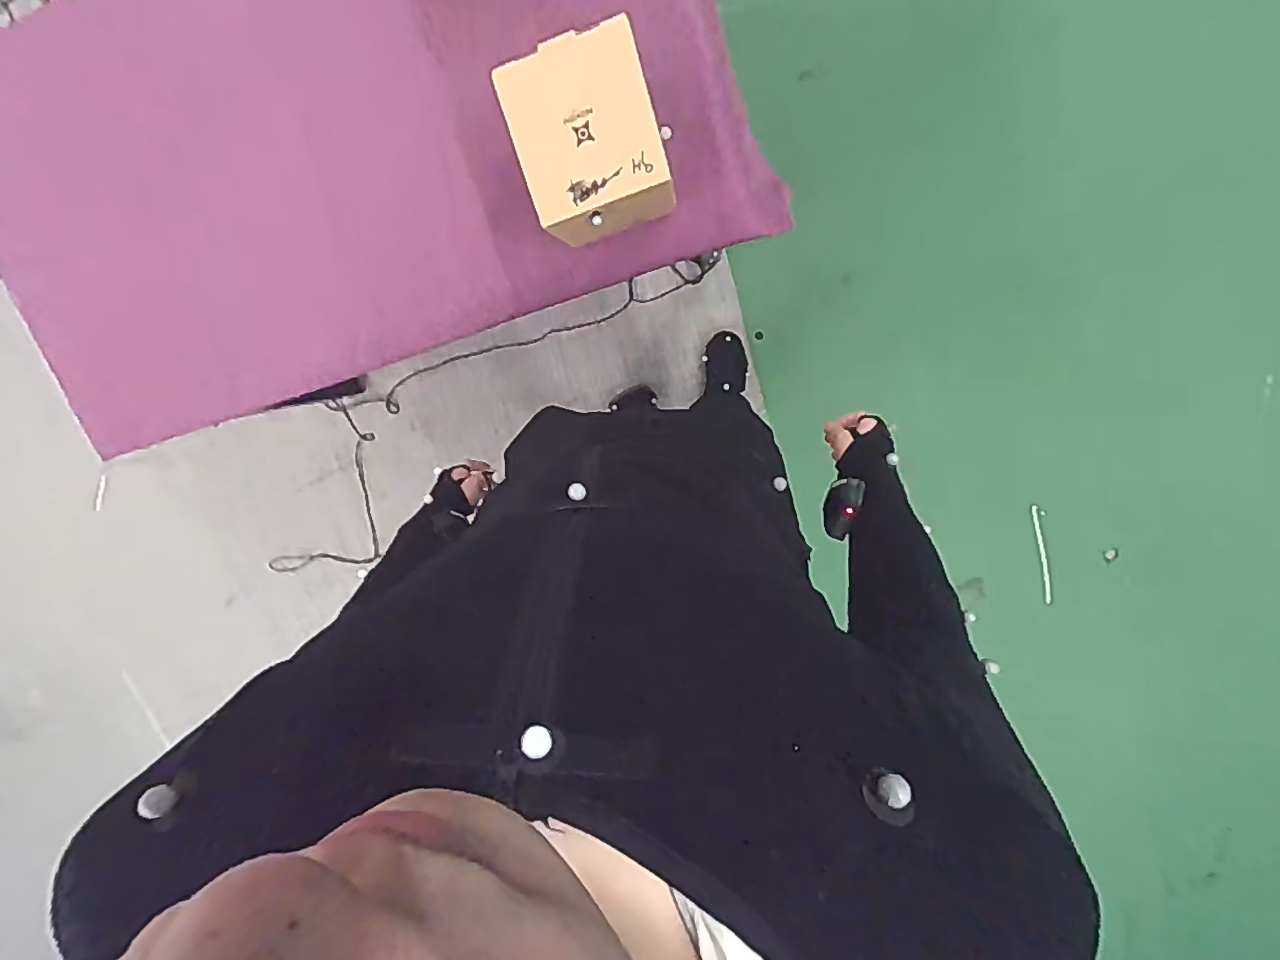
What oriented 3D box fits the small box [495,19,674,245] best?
[{"bbox_3d":[-0.058,-0.430,0.704,0.168,0.176,0.179,-15,103,12],"label":"small box"}]
